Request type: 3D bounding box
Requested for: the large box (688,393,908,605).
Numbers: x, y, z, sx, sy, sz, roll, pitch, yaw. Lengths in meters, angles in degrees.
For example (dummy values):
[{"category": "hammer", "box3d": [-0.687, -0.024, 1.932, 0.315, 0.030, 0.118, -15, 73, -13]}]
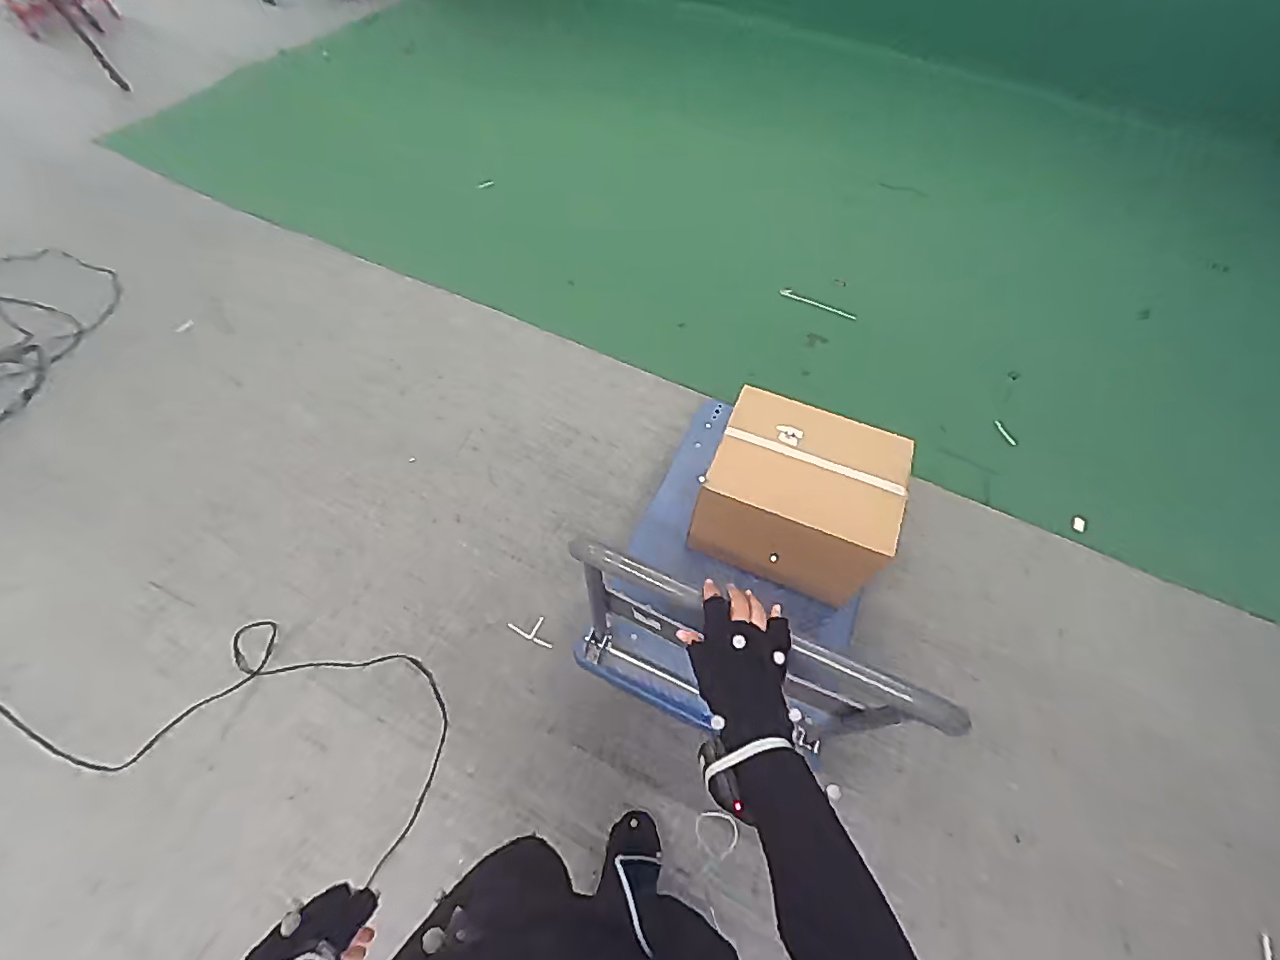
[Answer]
[{"category": "large box", "box3d": [0.367, 0.053, 1.310, 0.408, 0.320, 0.320, 20, 58, 10]}]
